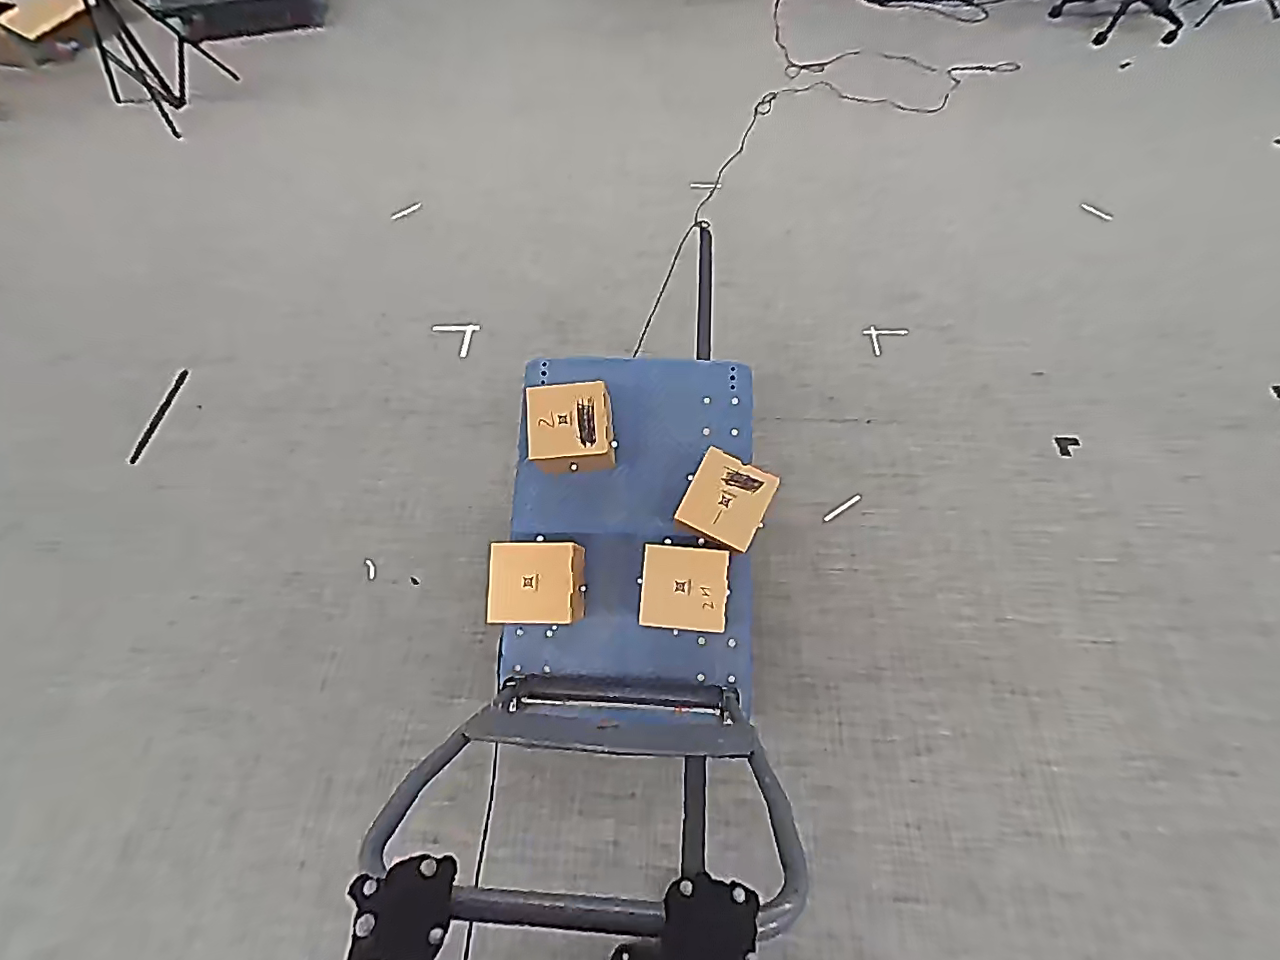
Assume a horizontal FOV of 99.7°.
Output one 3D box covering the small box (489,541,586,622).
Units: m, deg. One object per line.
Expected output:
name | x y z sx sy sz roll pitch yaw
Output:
small box | -0.219 0.226 1.196 0.179 0.176 0.168 0 79 2

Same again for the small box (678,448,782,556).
small box | 0.191 0.056 1.204 0.168 0.176 0.179 27 83 8

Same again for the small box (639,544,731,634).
small box | 0.097 0.235 1.175 0.179 0.176 0.168 5 80 5
